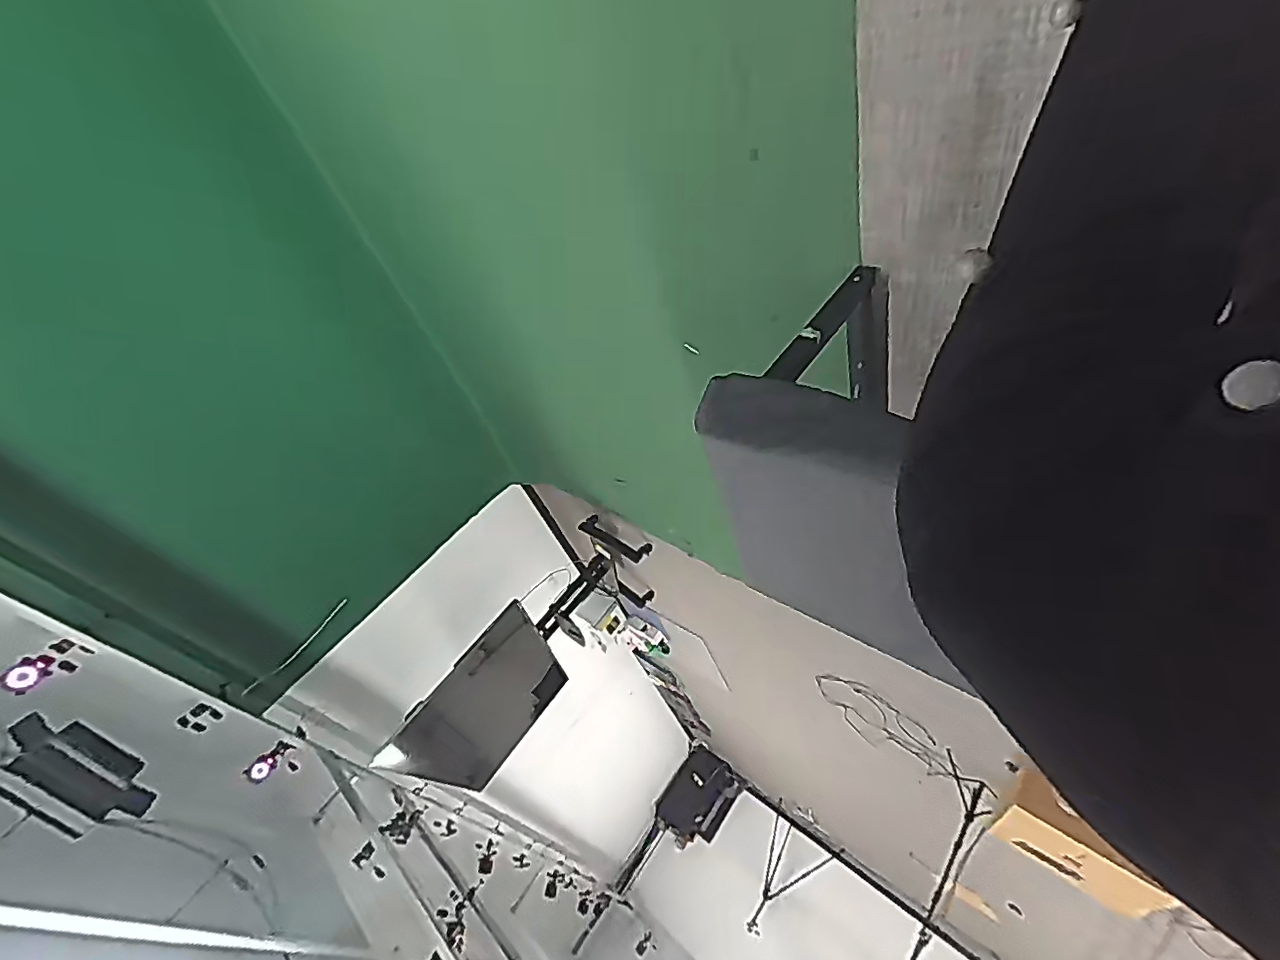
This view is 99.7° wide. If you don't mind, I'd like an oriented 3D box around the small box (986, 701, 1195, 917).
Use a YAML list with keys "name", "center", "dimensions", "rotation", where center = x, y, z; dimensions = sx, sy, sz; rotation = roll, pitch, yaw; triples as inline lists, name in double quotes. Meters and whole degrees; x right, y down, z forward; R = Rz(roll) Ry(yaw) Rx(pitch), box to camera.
- name: "small box"
  center: [0.602, 0.440, 0.735]
  dimensions: [0.168, 0.176, 0.179]
  rotation: [23, 151, 39]
